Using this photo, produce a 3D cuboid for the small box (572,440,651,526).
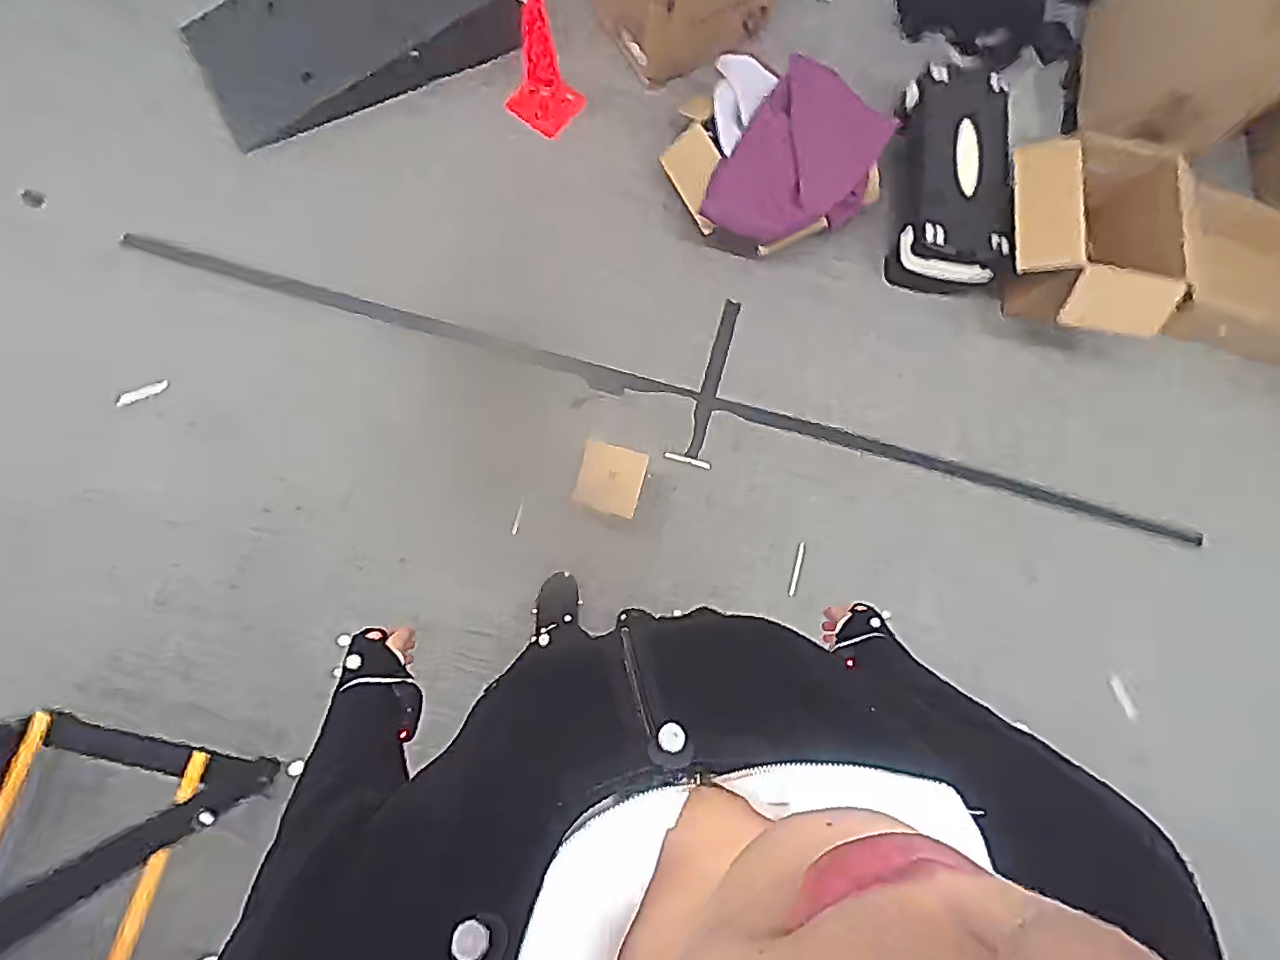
[{"bbox_3d":[-0.079,0.014,1.464,0.168,0.176,0.179,17,79,-1],"label":"small box"}]
